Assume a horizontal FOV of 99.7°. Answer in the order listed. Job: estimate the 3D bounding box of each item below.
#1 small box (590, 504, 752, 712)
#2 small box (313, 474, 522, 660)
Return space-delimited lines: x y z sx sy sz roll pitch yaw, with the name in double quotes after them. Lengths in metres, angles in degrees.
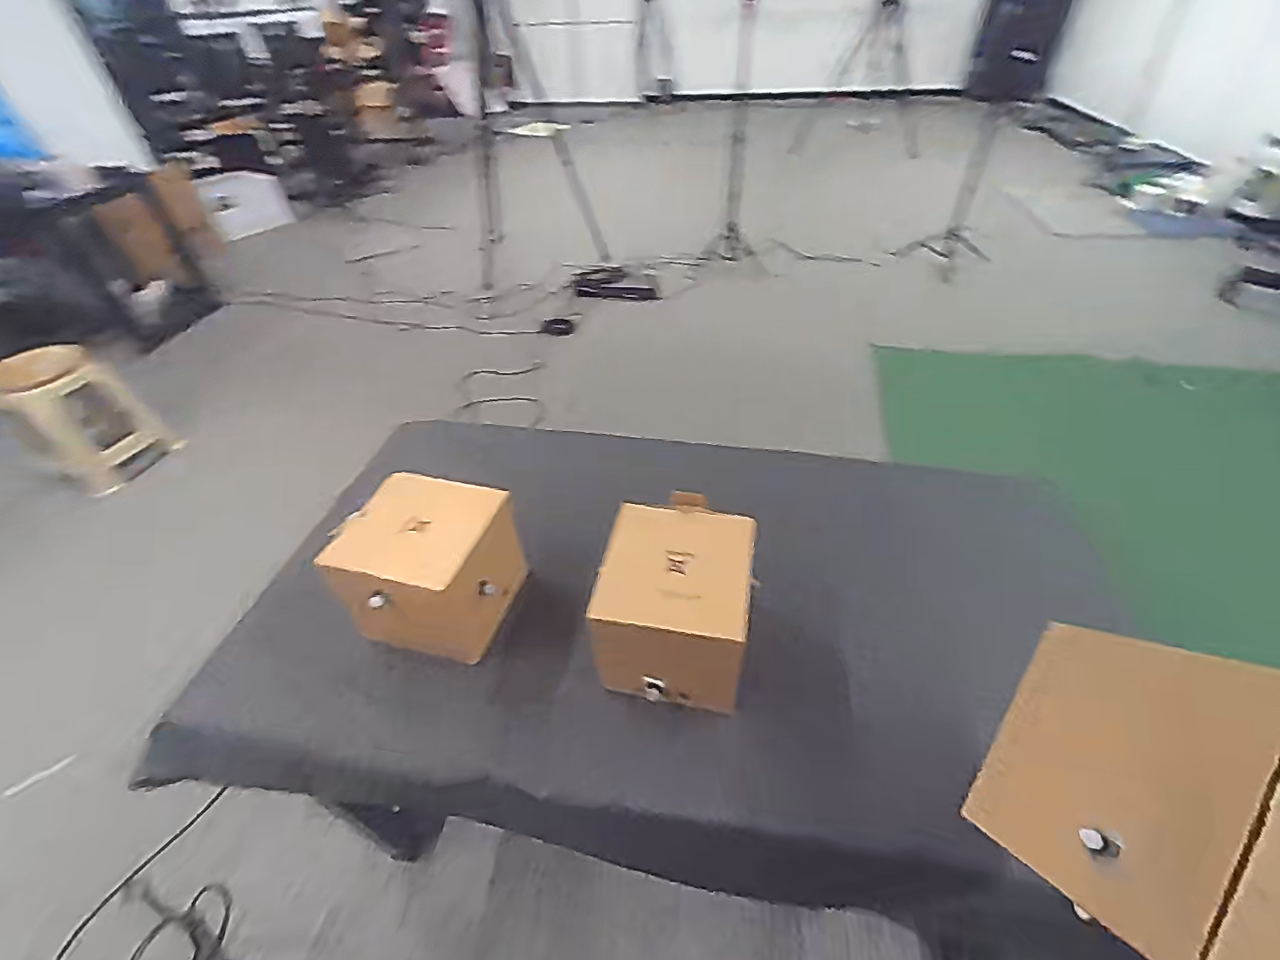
0.044 0.155 0.667 0.168 0.176 0.179 5 43 9 "small box"
-0.276 0.117 0.721 0.179 0.176 0.168 9 43 12 "small box"
